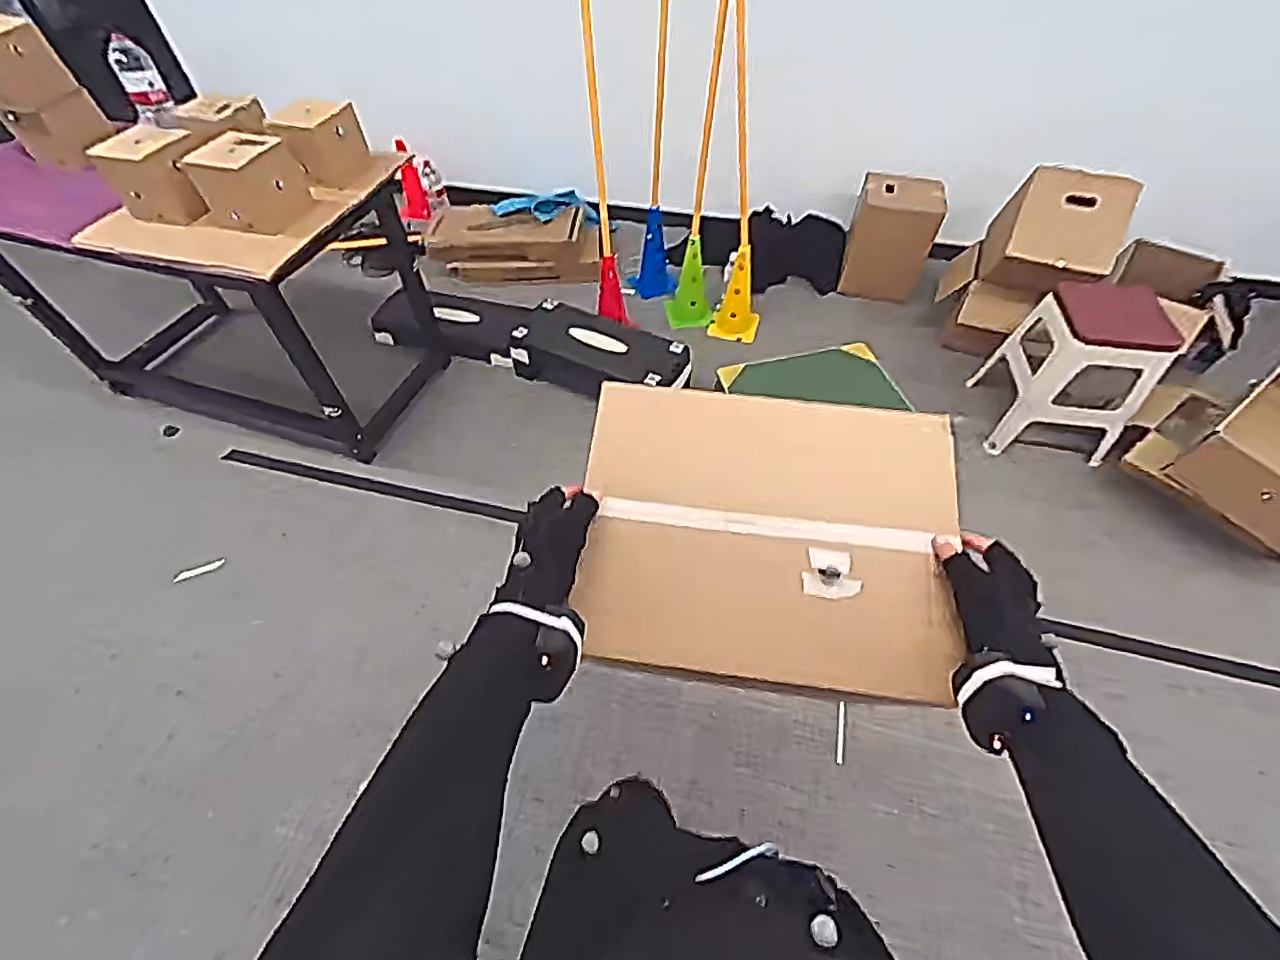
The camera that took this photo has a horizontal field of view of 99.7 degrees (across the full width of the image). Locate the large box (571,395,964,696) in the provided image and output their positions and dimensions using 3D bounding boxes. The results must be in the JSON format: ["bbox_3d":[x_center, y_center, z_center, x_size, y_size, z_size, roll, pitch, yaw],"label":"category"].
[{"bbox_3d":[0.143,0.108,0.736,0.408,0.320,0.320,6,69,4],"label":"large box"}]
